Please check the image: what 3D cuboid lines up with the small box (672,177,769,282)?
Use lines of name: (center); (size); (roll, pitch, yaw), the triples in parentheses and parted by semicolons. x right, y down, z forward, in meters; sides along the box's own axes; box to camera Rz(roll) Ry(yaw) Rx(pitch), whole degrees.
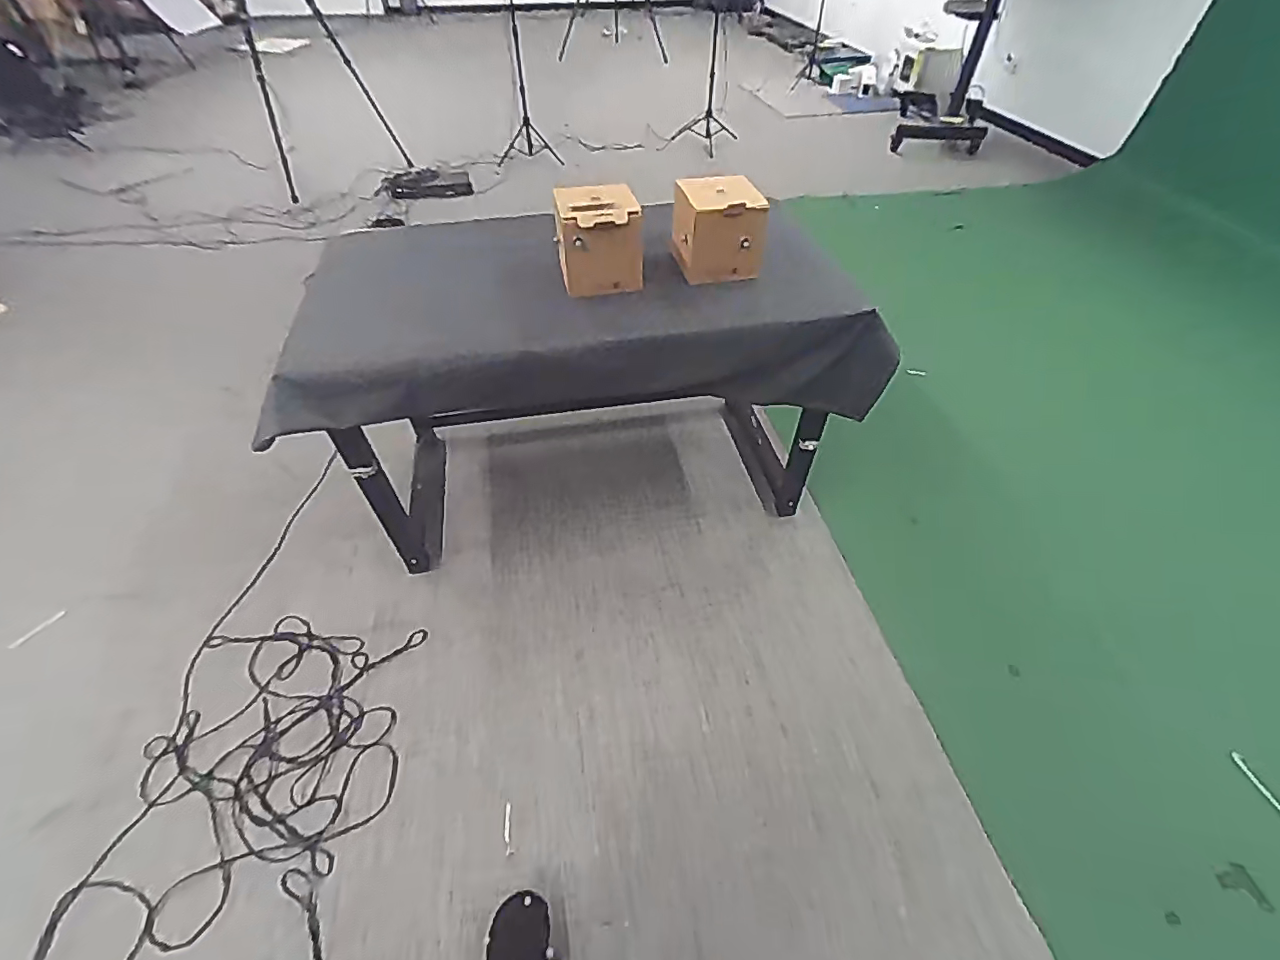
small box: (0.174, -0.564, 1.226); (0.168, 0.176, 0.179); (-9, 47, -9)
